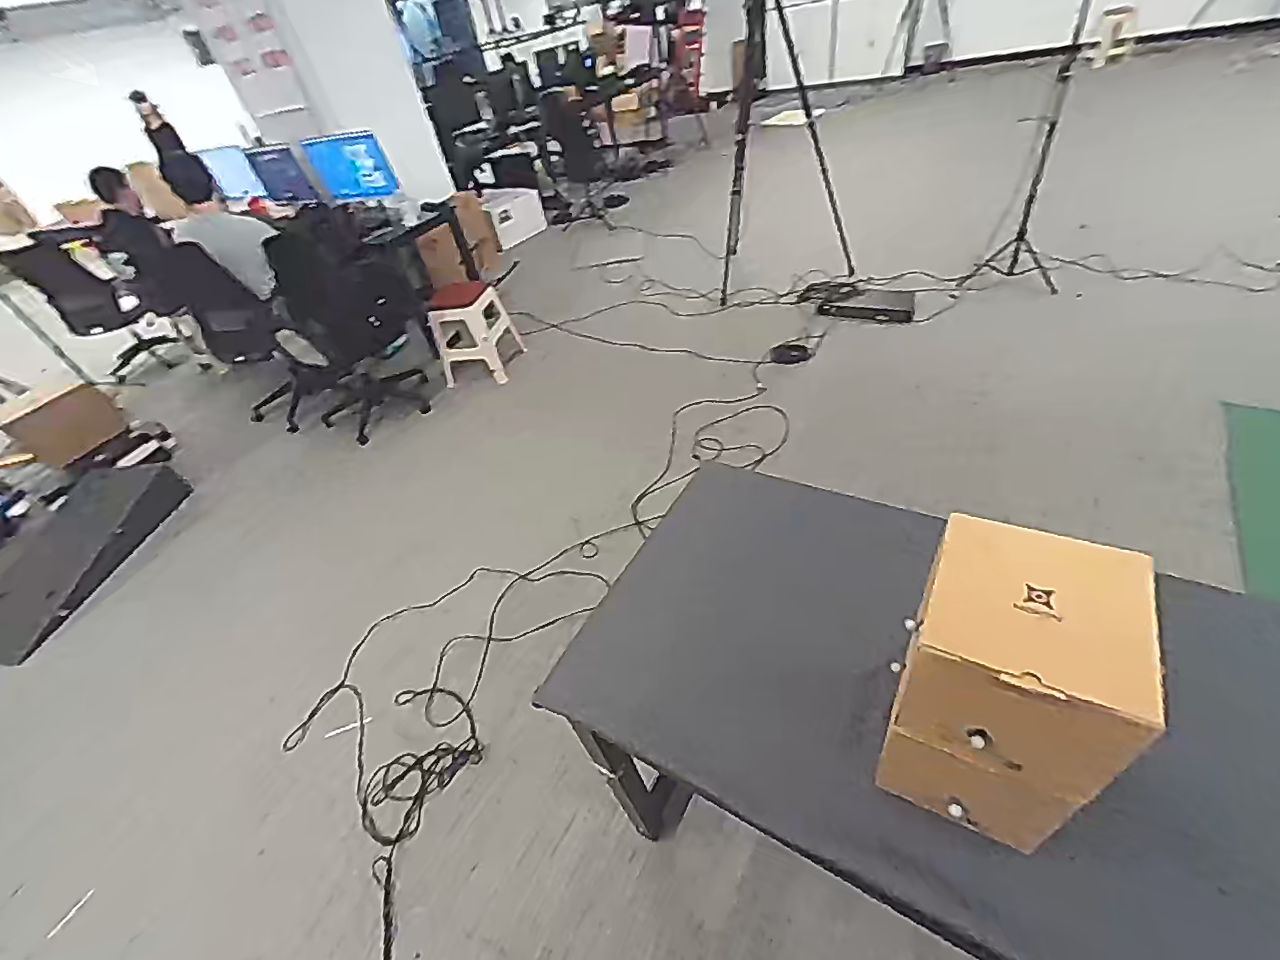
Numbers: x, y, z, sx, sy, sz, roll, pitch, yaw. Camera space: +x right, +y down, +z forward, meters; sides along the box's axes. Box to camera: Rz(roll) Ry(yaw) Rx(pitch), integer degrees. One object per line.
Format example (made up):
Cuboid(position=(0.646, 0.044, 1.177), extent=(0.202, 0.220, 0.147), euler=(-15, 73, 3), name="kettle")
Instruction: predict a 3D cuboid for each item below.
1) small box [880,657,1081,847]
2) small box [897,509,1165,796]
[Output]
Cuboid(position=(0.392, 0.282, 0.636), extent=(0.168, 0.176, 0.179), euler=(14, 48, 29), name="small box")
Cuboid(position=(0.364, 0.162, 0.529), extent=(0.168, 0.176, 0.179), euler=(15, 48, 28), name="small box")
